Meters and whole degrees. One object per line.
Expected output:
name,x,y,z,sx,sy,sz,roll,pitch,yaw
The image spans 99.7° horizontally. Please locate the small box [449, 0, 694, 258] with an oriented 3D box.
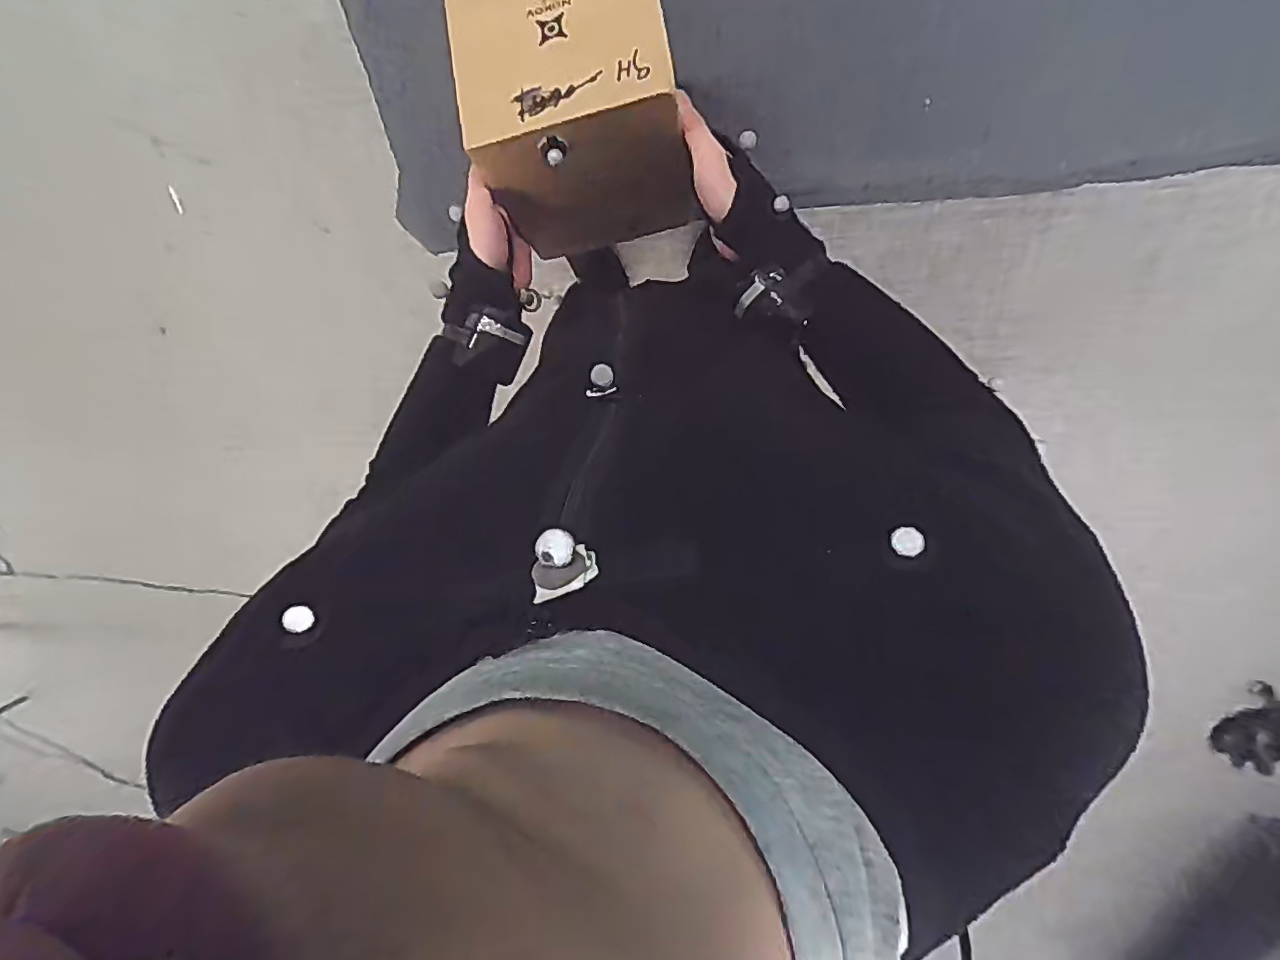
small box,-0.050,-0.335,0.484,0.168,0.176,0.179,-10,81,10
